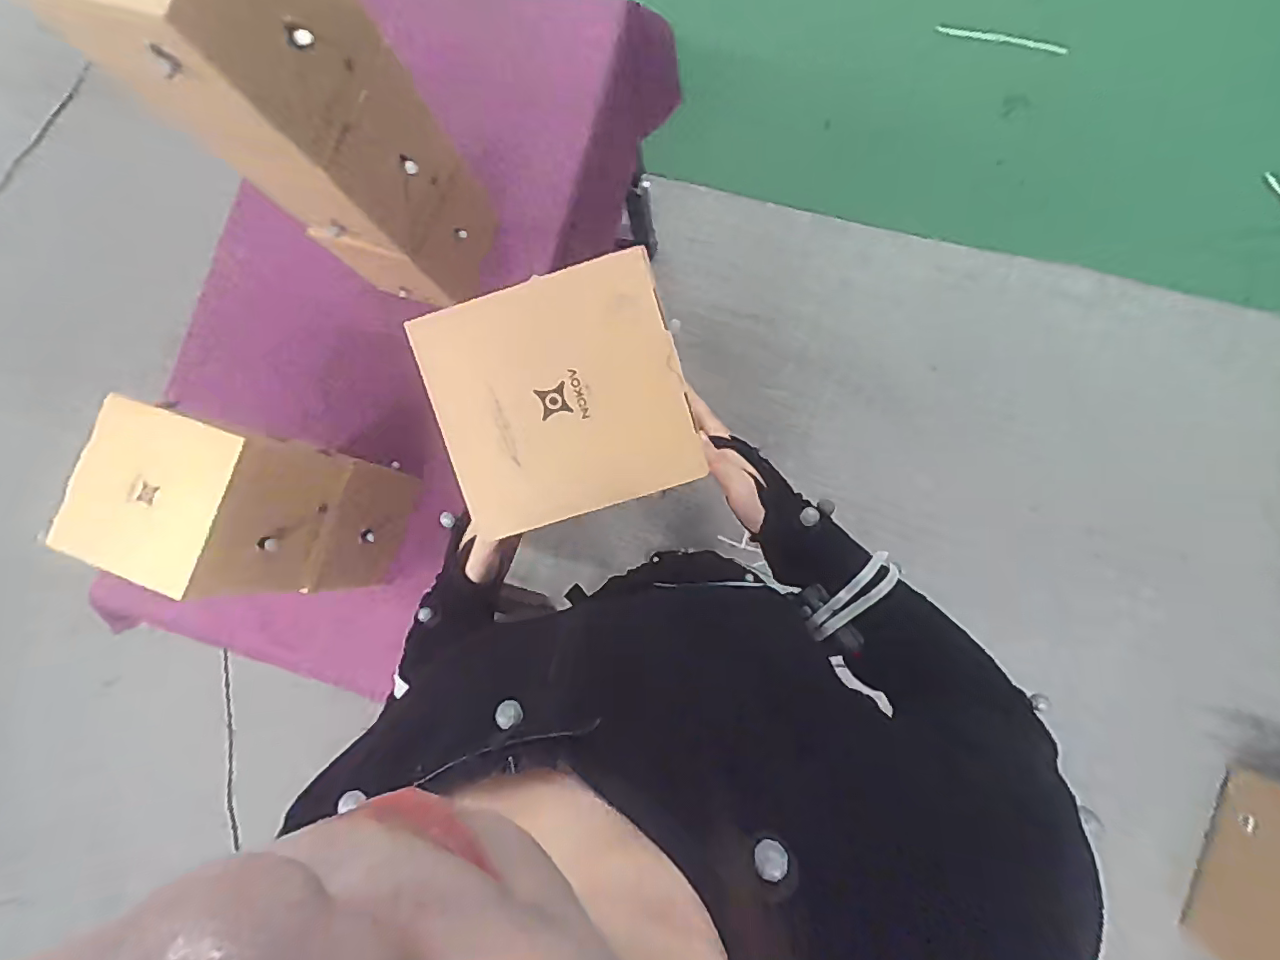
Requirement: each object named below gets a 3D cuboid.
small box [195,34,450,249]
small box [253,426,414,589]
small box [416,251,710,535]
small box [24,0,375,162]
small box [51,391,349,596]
[{"bbox_3d":[-0.361,-0.409,0.652,0.179,0.176,0.168,21,86,9],"label":"small box"},{"bbox_3d":[-0.453,0.042,0.772,0.168,0.176,0.179,16,86,9],"label":"small box"},{"bbox_3d":[-0.051,-0.067,0.457,0.179,0.176,0.168,-15,95,4],"label":"small box"},{"bbox_3d":[-0.382,-0.427,0.488,0.179,0.176,0.168,19,86,10],"label":"small box"},{"bbox_3d":[-0.475,0.018,0.613,0.179,0.176,0.168,17,85,10],"label":"small box"}]
